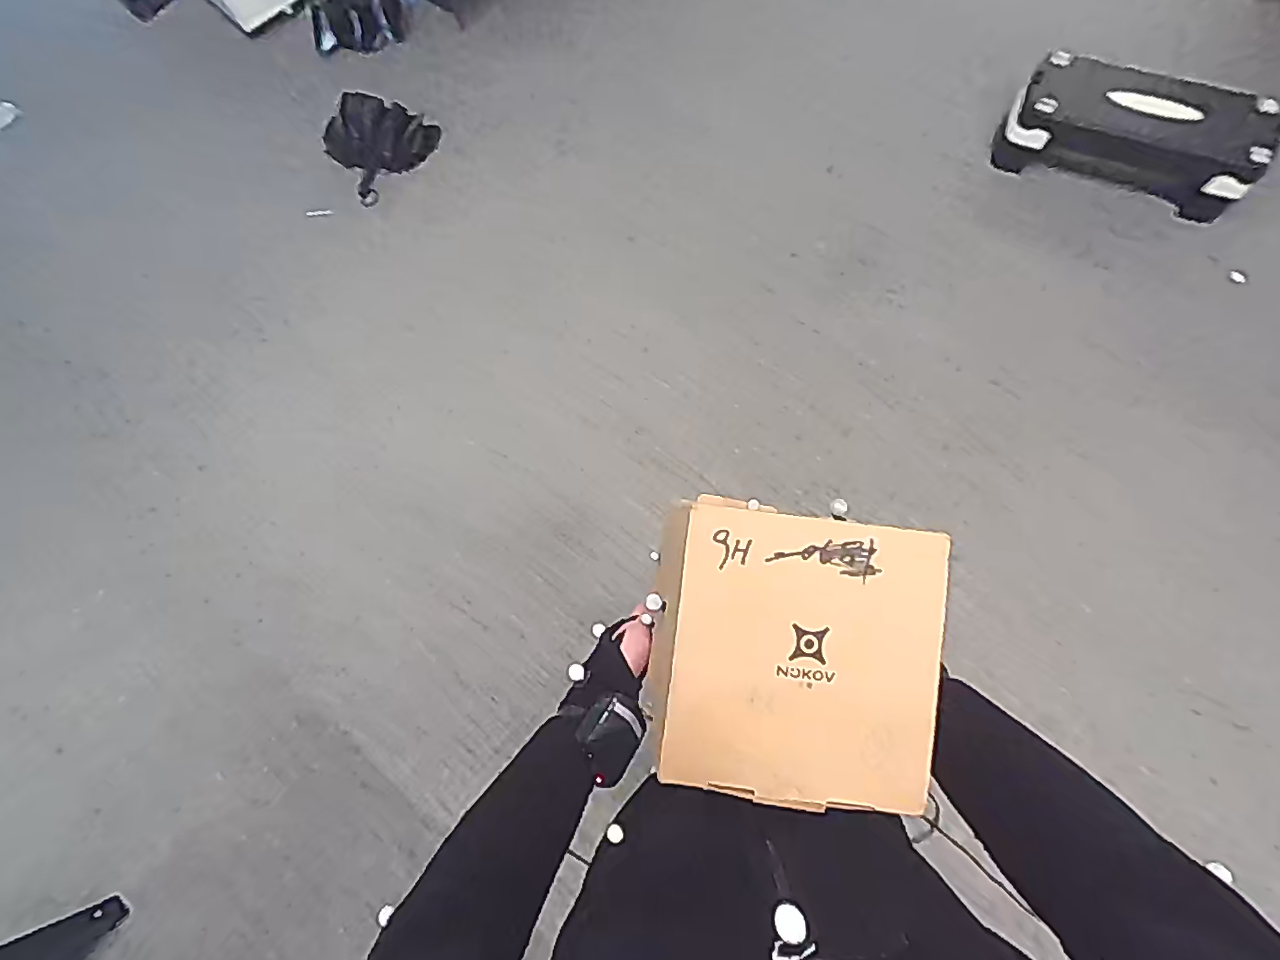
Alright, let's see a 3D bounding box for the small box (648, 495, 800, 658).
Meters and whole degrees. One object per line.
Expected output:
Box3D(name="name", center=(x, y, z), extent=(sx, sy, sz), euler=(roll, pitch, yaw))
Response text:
Box3D(name="small box", center=(0.103, 0.121, 0.734), extent=(0.168, 0.176, 0.179), euler=(9, 87, 2))
